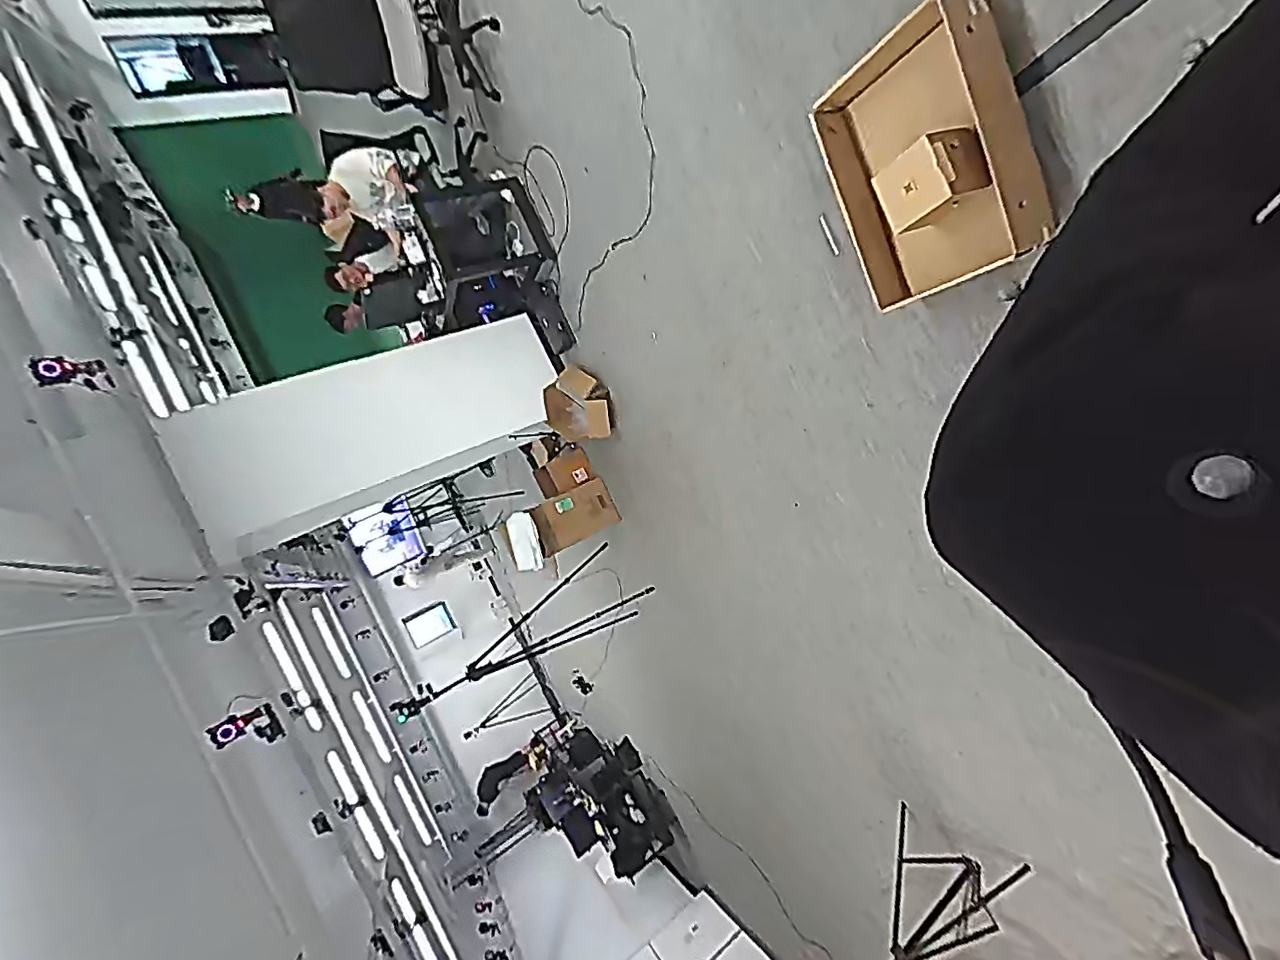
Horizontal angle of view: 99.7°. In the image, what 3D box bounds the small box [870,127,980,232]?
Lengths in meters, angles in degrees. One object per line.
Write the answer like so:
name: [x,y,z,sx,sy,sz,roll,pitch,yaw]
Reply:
small box: [0.744,-0.780,1.401,0.179,0.176,0.168,-20,94,64]
